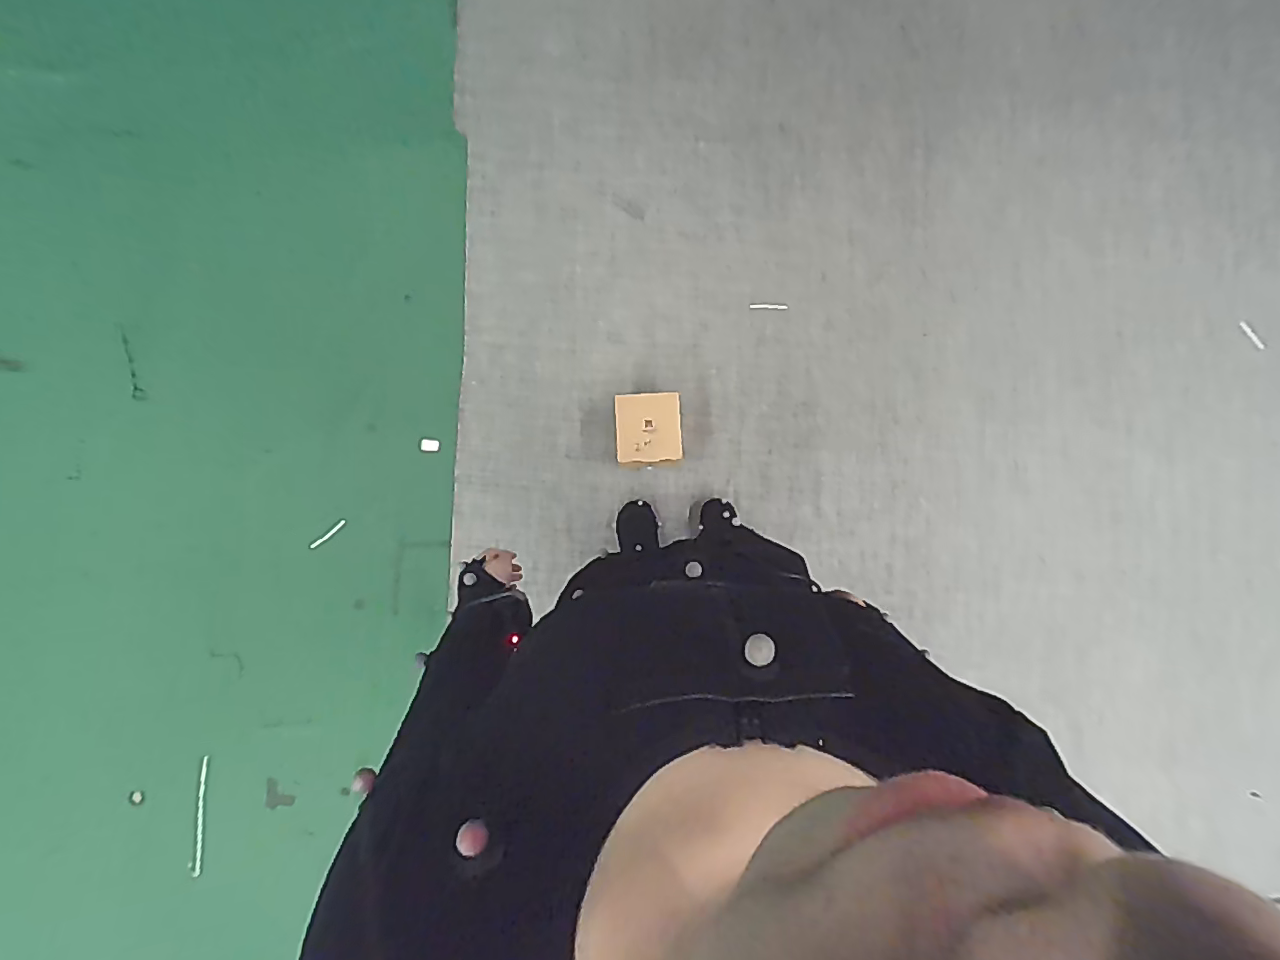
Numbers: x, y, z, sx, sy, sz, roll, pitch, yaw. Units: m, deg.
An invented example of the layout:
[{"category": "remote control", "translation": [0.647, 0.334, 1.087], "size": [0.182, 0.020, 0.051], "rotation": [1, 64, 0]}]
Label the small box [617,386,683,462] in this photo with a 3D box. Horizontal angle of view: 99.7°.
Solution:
[{"category": "small box", "translation": [0.023, -0.143, 1.431], "size": [0.168, 0.176, 0.179], "rotation": [-3, 87, -1]}]
